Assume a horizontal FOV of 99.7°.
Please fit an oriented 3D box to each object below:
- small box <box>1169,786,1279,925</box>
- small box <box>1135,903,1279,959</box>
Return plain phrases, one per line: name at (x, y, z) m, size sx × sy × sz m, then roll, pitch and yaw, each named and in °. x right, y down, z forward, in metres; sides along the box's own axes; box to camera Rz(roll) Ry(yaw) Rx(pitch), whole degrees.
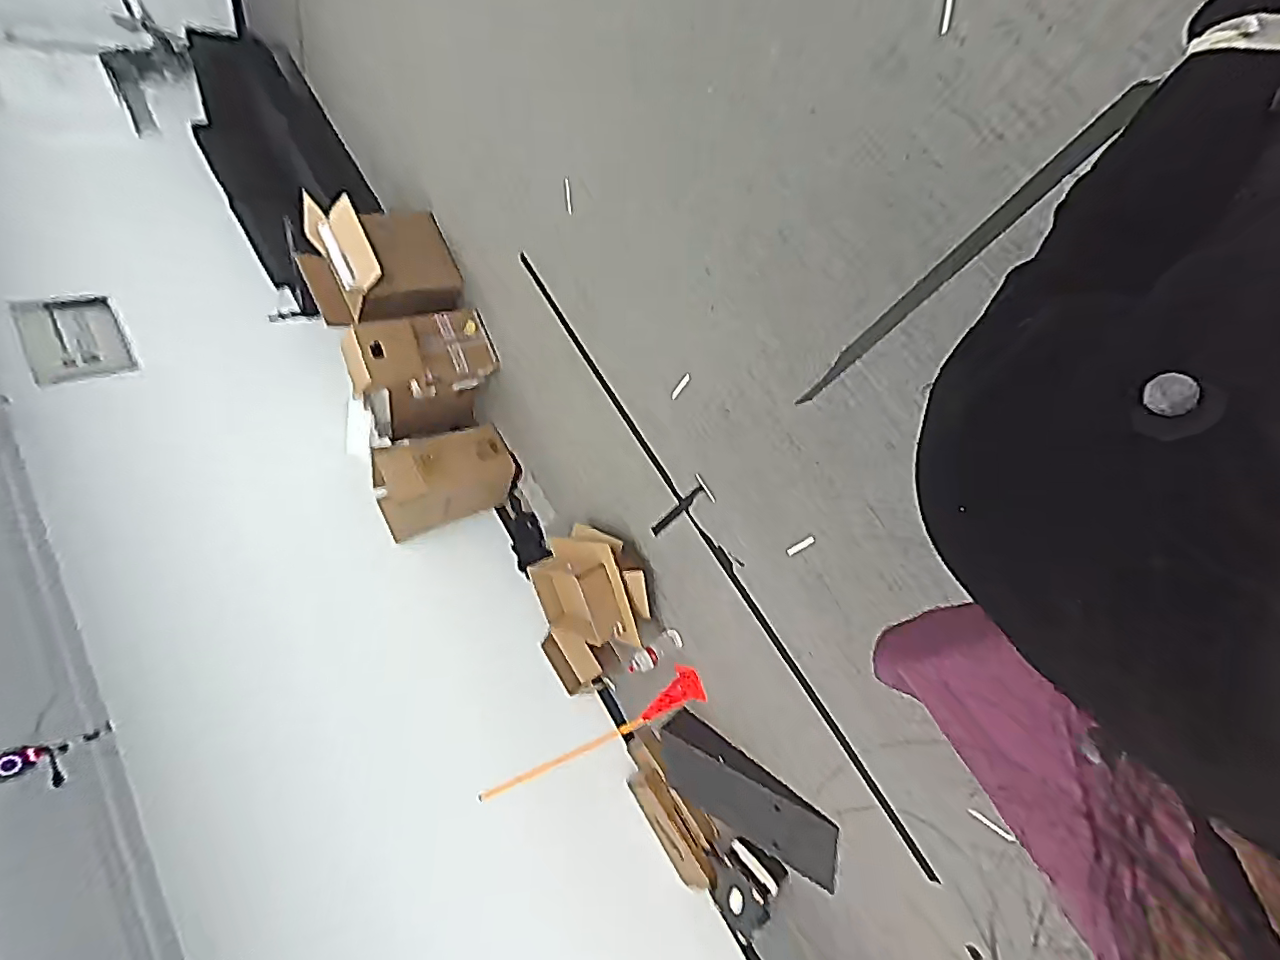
small box at (0.572, 0.372, 0.412) m, size 0.179 × 0.176 × 0.168 m, roll 60°, pitch 144°, yaw 11°
small box at (0.437, 0.408, 0.327) m, size 0.179 × 0.176 × 0.168 m, roll 57°, pitch 145°, yaw 13°
